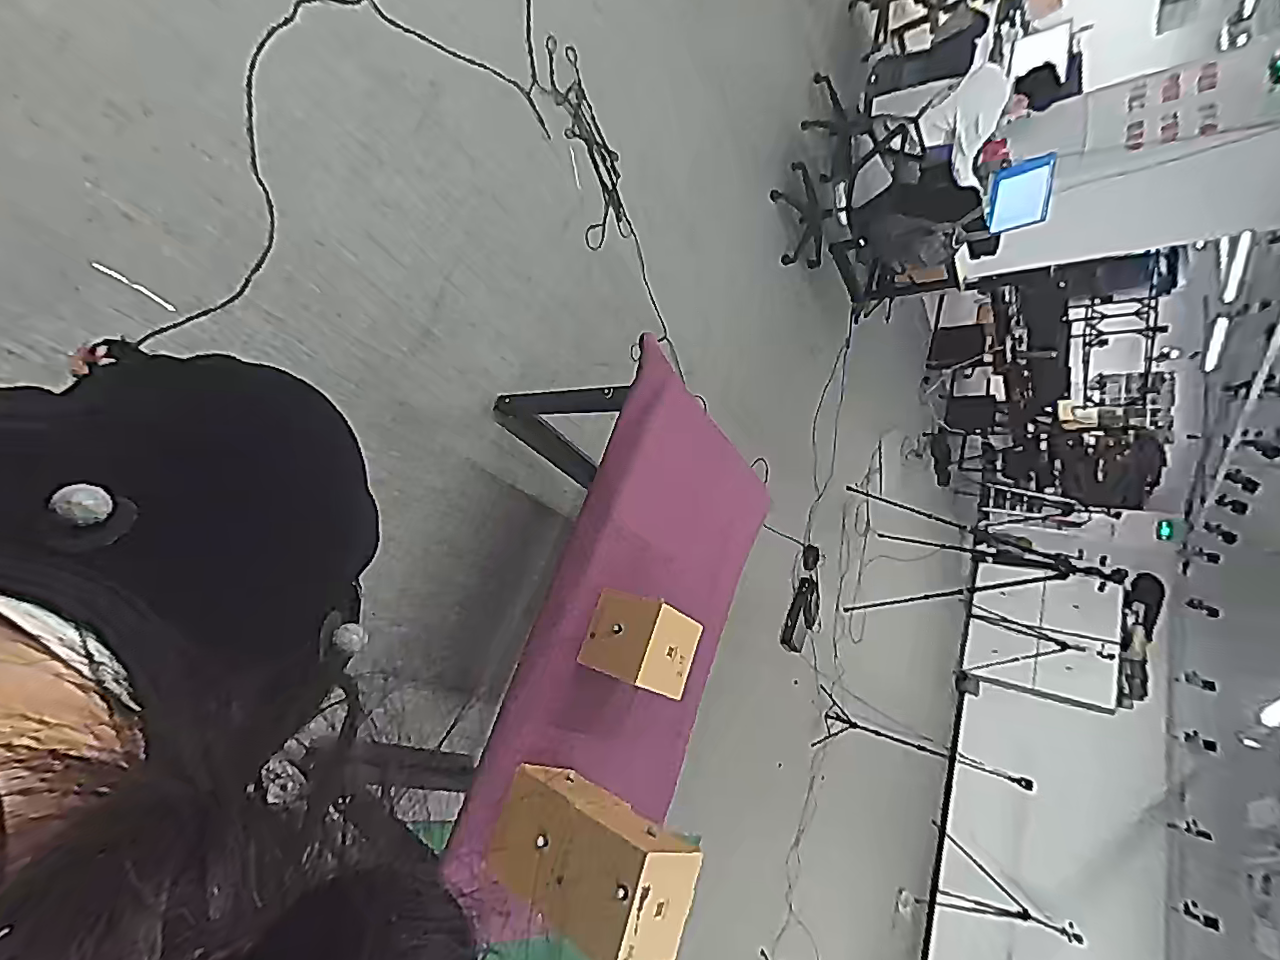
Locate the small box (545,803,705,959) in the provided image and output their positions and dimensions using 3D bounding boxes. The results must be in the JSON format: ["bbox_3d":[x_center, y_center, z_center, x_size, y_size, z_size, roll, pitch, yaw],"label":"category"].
[{"bbox_3d":[-0.023,0.664,0.905,0.179,0.176,0.168,39,63,-43],"label":"small box"}]

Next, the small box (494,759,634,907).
[{"bbox_3d":[-0.146,0.653,1.013,0.168,0.176,0.179,37,65,-43],"label":"small box"}]

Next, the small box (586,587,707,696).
[{"bbox_3d":[0.013,0.341,1.162,0.179,0.176,0.168,41,64,-44],"label":"small box"}]
